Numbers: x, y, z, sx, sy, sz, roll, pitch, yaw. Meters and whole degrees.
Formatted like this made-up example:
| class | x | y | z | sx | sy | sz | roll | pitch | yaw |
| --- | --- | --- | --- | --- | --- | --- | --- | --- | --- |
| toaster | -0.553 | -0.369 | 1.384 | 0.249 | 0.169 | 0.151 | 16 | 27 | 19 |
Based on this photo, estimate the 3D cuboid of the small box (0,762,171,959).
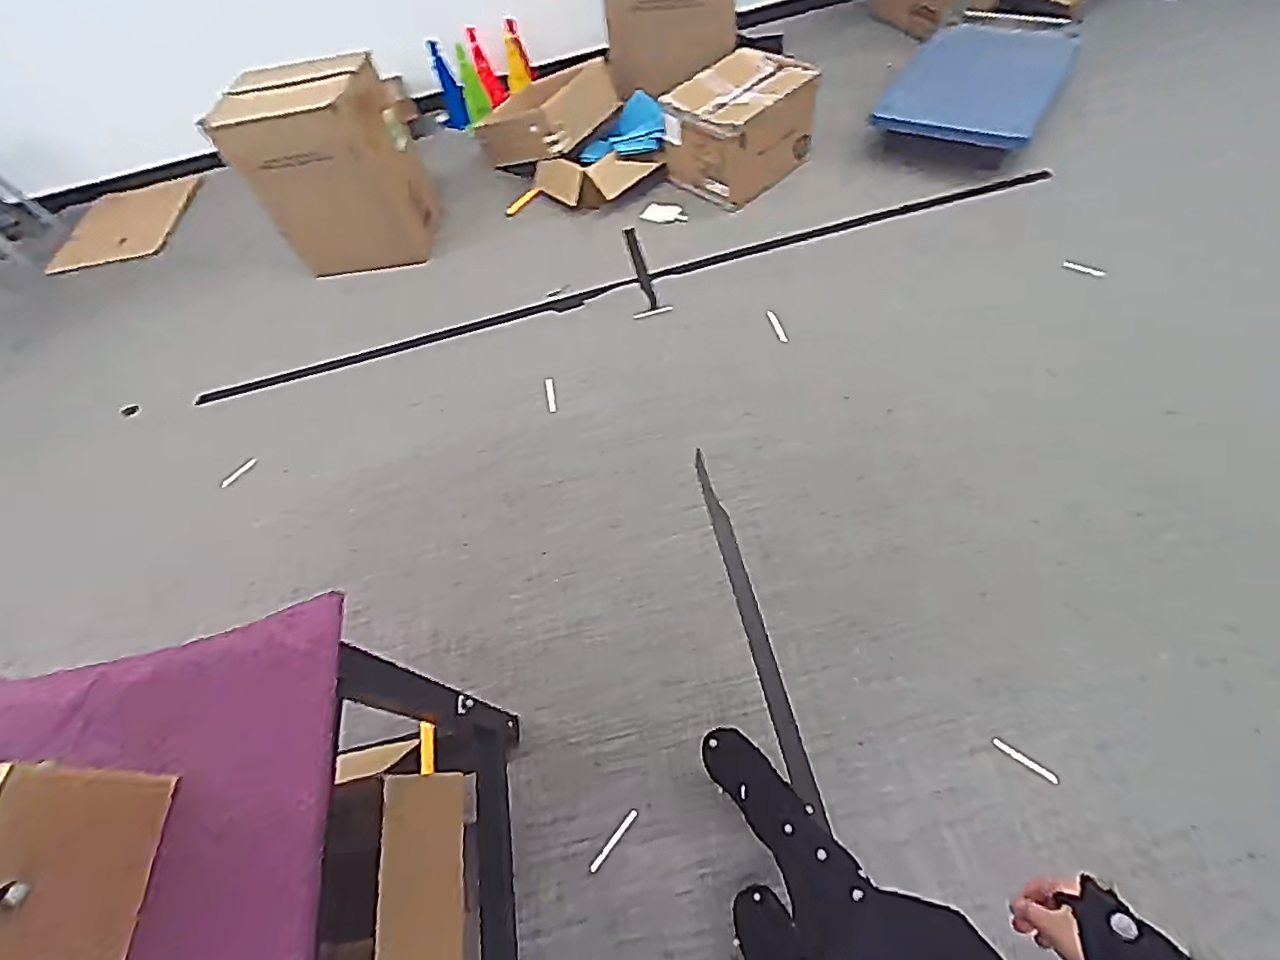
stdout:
| class | x | y | z | sx | sy | sz | roll | pitch | yaw |
| --- | --- | --- | --- | --- | --- | --- | --- | --- | --- |
| small box | -0.590 | 0.371 | 0.492 | 0.168 | 0.176 | 0.179 | -11 | 58 | 4 |
